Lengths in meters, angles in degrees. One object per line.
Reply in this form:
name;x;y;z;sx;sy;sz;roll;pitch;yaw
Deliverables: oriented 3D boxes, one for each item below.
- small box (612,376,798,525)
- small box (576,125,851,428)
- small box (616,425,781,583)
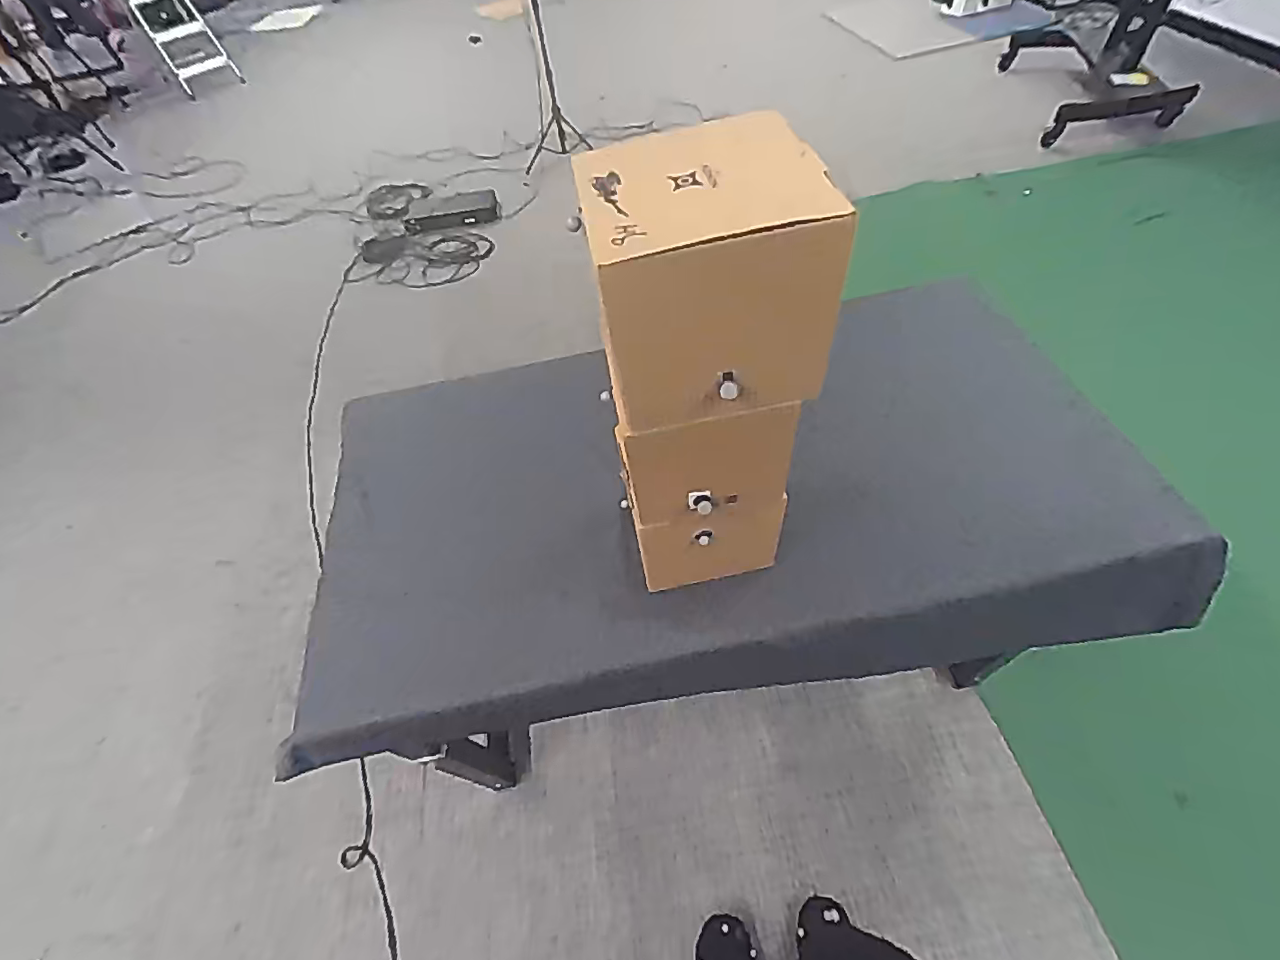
small box;0.060;-0.076;0.602;0.168;0.176;0.179;-12;55;0
small box;0.051;-0.168;0.467;0.179;0.176;0.168;-11;53;-1
small box;0.074;0.022;0.730;0.179;0.176;0.168;-12;54;-3
